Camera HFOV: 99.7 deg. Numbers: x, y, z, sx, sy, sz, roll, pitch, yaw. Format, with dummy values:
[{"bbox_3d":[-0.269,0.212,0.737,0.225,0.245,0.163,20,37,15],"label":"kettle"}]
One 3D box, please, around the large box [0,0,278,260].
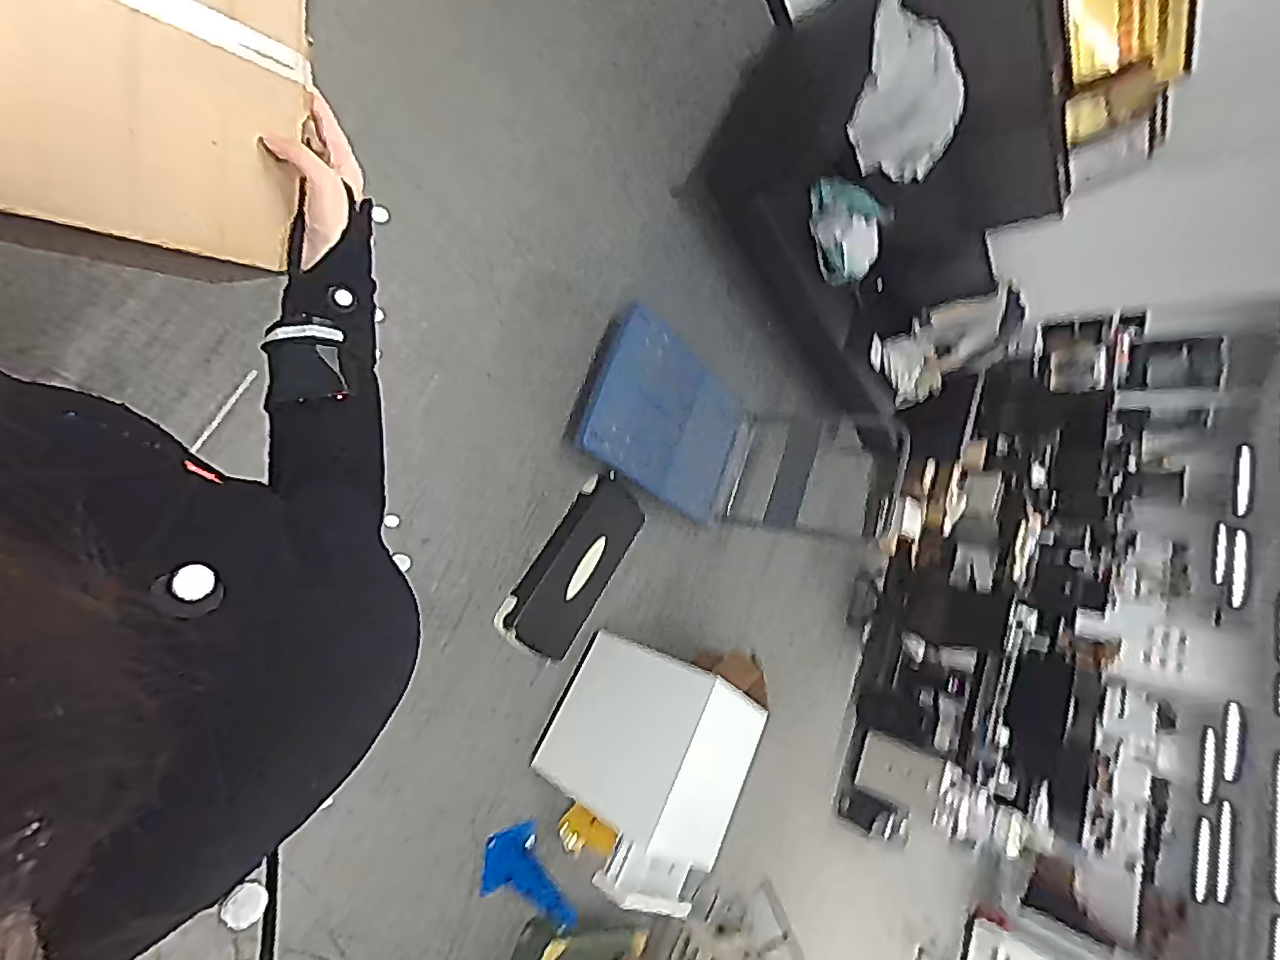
[{"bbox_3d":[-0.532,-0.361,0.387,0.408,0.320,0.320,-4,106,-46],"label":"large box"}]
